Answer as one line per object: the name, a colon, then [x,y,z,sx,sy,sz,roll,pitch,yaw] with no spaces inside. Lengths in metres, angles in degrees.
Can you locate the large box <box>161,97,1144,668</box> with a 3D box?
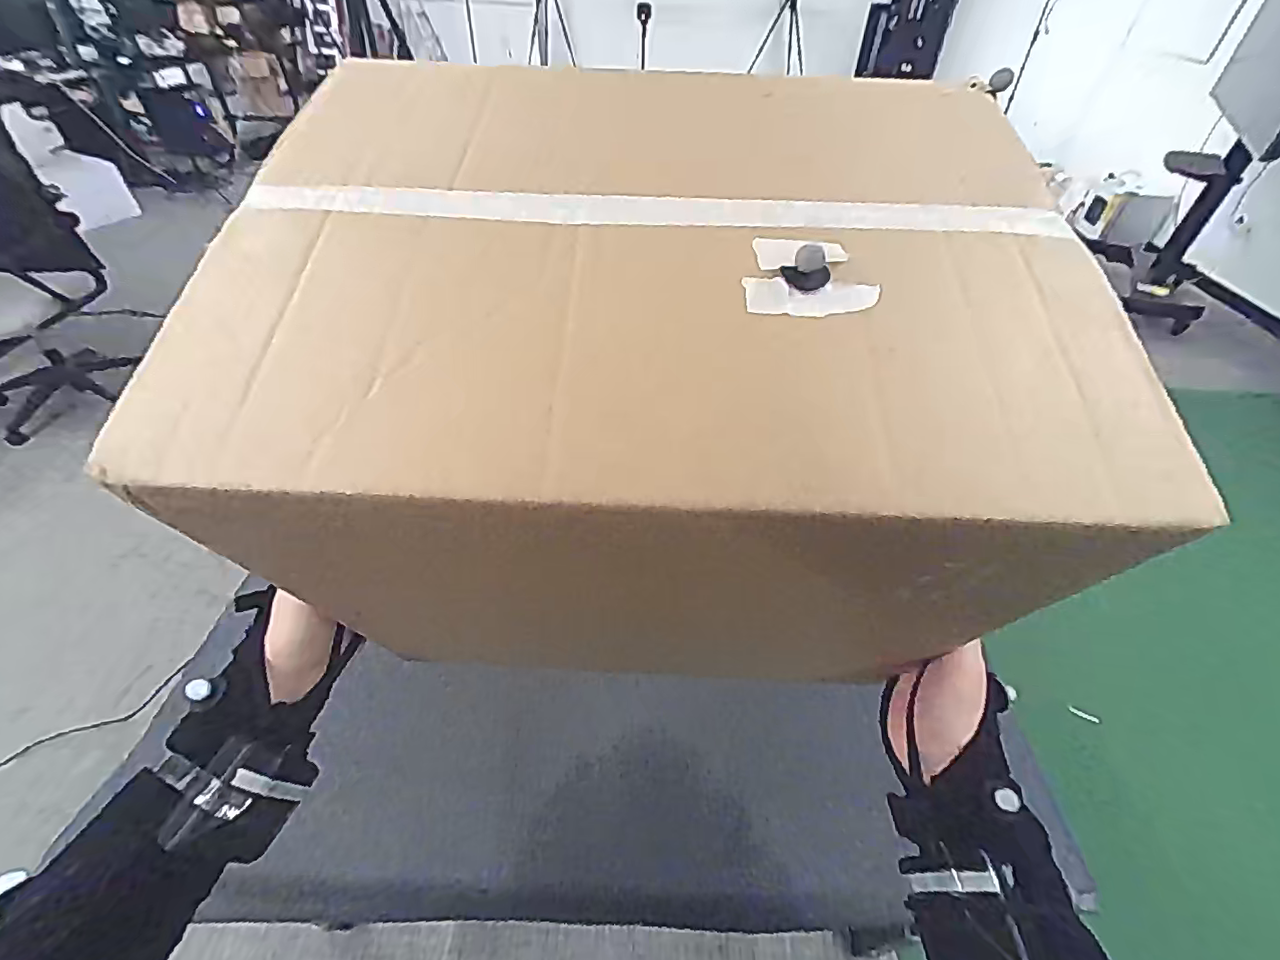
large box: [0.005,-0.046,0.417,0.408,0.320,0.320,2,61,0]
